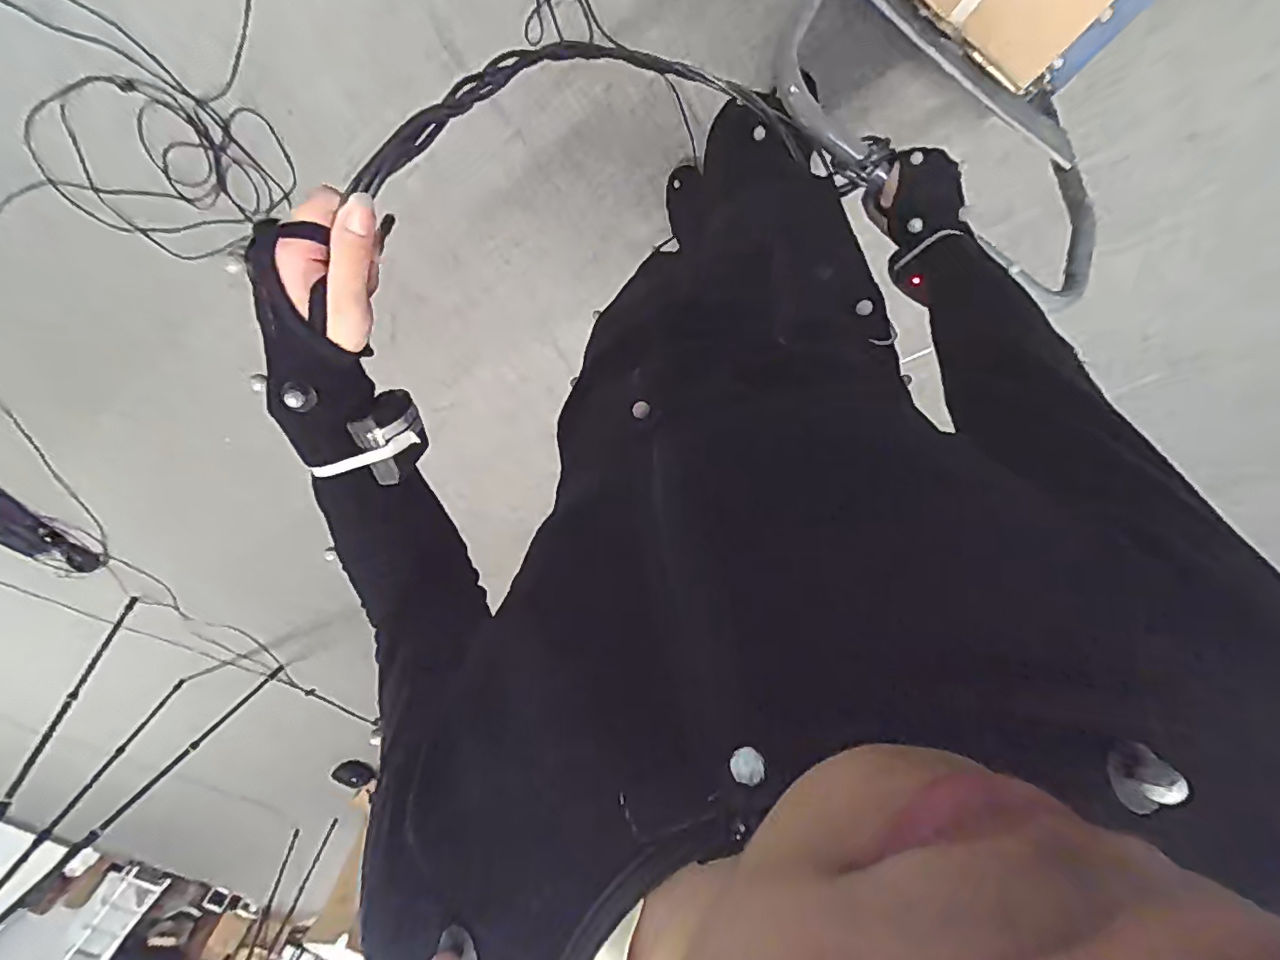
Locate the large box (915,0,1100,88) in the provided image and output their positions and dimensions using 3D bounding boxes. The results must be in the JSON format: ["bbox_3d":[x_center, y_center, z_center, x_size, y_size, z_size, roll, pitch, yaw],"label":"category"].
[{"bbox_3d":[0.563,-0.863,0.726,0.320,0.320,0.408,30,141,-15],"label":"large box"}]
